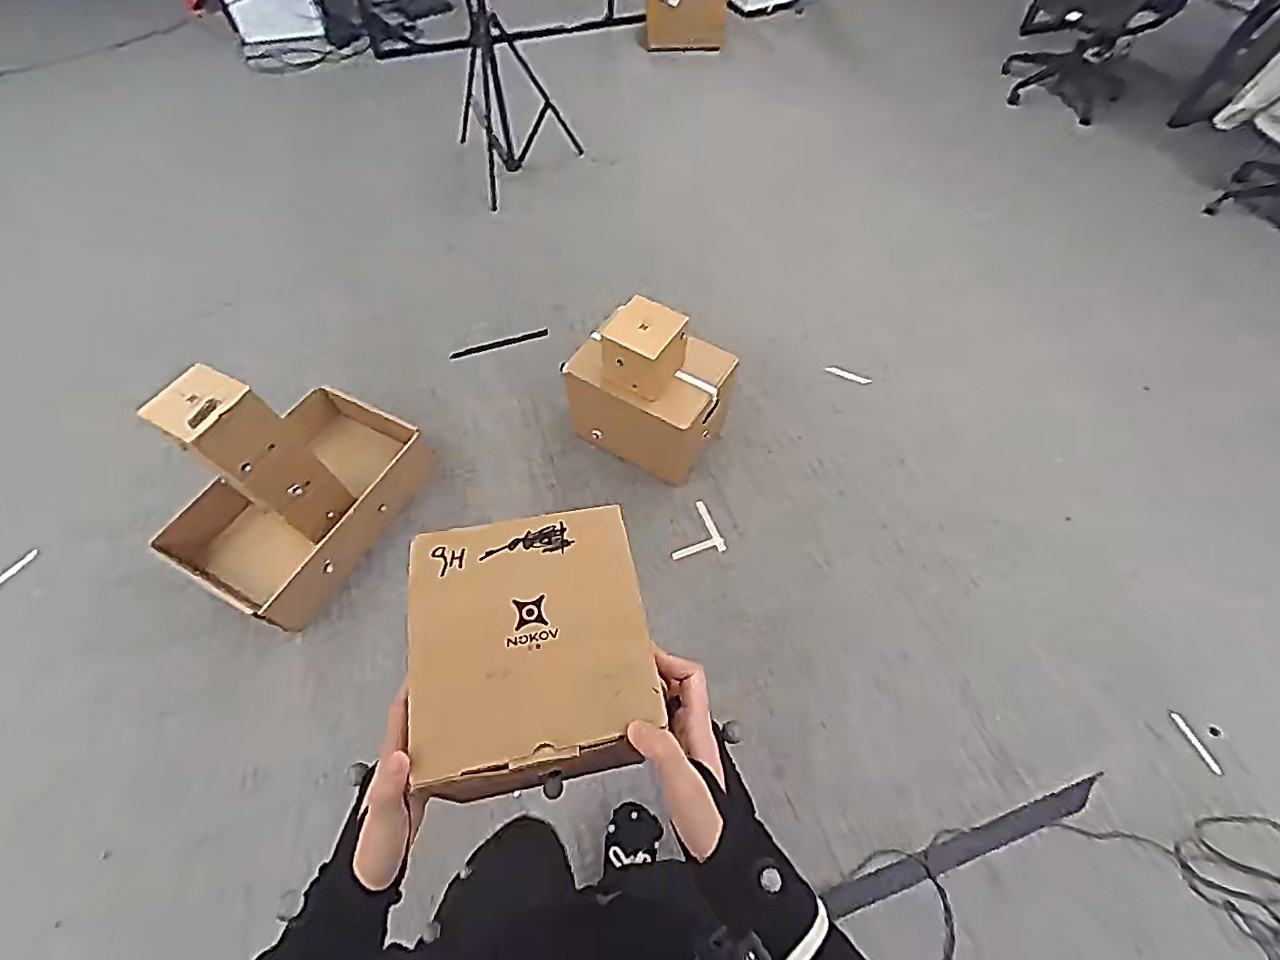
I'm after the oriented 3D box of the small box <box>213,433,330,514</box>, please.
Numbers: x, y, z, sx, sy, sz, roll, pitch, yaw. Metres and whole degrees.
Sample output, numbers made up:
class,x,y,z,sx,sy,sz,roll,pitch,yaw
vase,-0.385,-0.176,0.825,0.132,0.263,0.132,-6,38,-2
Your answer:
class,x,y,z,sx,sy,sz,roll,pitch,yaw
small box,-0.943,-0.039,1.372,0.179,0.176,0.168,26,63,14

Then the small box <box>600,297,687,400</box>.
class,x,y,z,sx,sy,sz,roll,pitch,yaw
small box,0.012,-0.347,1.444,0.168,0.176,0.179,29,63,16

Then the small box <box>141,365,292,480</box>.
class,x,y,z,sx,sy,sz,roll,pitch,yaw
small box,-0.949,-0.124,1.232,0.179,0.176,0.168,24,62,15

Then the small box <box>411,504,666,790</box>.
class,x,y,z,sx,sy,sz,roll,pitch,yaw
small box,-0.084,0.146,0.453,0.168,0.176,0.179,-8,58,-11

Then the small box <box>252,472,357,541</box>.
class,x,y,z,sx,sy,sz,roll,pitch,yaw
small box,-0.941,0.046,1.510,0.179,0.176,0.168,27,63,15
